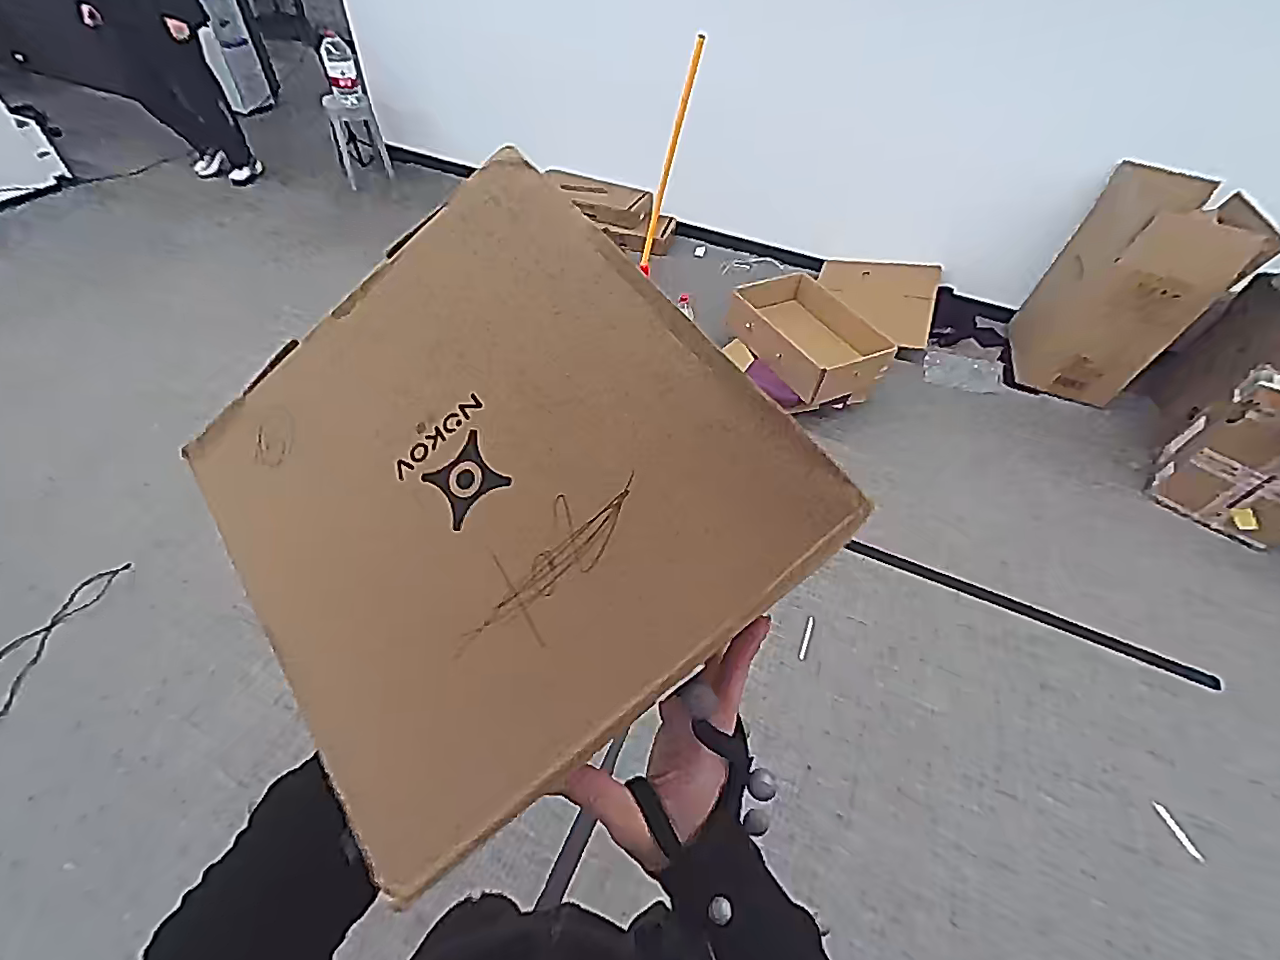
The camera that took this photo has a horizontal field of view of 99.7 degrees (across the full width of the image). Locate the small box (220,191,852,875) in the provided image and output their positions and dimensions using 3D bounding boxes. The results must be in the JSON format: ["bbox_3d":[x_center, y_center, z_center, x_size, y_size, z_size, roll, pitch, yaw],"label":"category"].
[{"bbox_3d":[-0.032,0.020,0.257,0.168,0.176,0.179,-43,71,4],"label":"small box"}]
